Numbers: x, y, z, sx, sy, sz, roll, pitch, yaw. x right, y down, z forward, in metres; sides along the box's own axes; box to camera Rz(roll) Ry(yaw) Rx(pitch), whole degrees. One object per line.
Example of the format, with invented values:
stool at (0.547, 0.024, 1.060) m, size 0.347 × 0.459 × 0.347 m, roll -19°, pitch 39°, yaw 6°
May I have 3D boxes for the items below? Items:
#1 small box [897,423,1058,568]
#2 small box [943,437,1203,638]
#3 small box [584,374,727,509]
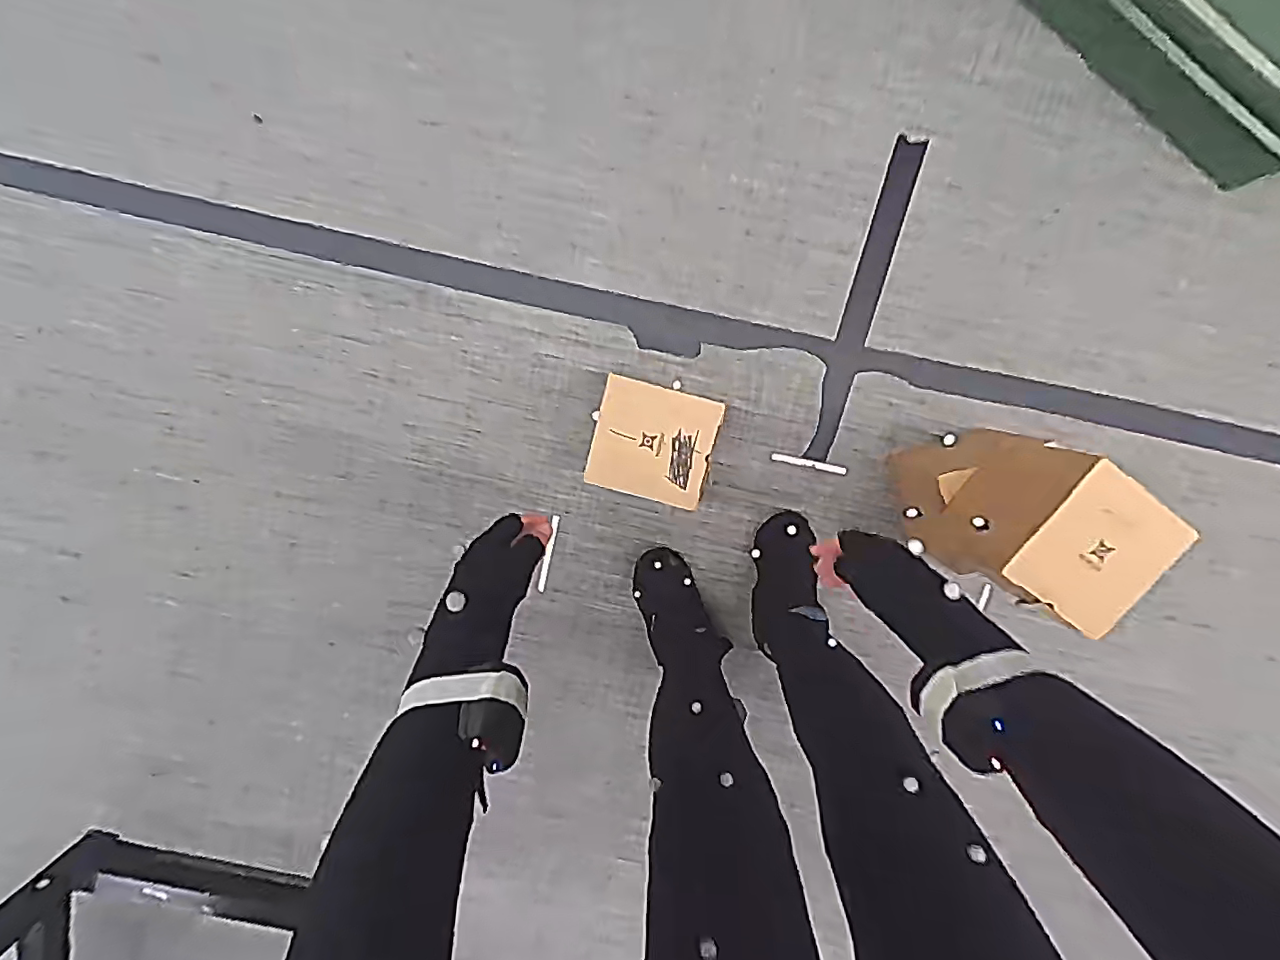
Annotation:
small box at (0.541, 0.016, 0.871) m, size 0.179 × 0.176 × 0.168 m, roll -20°, pitch 101°, yaw 4°
small box at (0.541, 0.064, 0.712) m, size 0.168 × 0.176 × 0.179 m, roll 35°, pitch 100°, yaw -8°
small box at (0.023, -0.070, 0.859) m, size 0.179 × 0.176 × 0.168 m, roll 15°, pitch 102°, yaw -1°
